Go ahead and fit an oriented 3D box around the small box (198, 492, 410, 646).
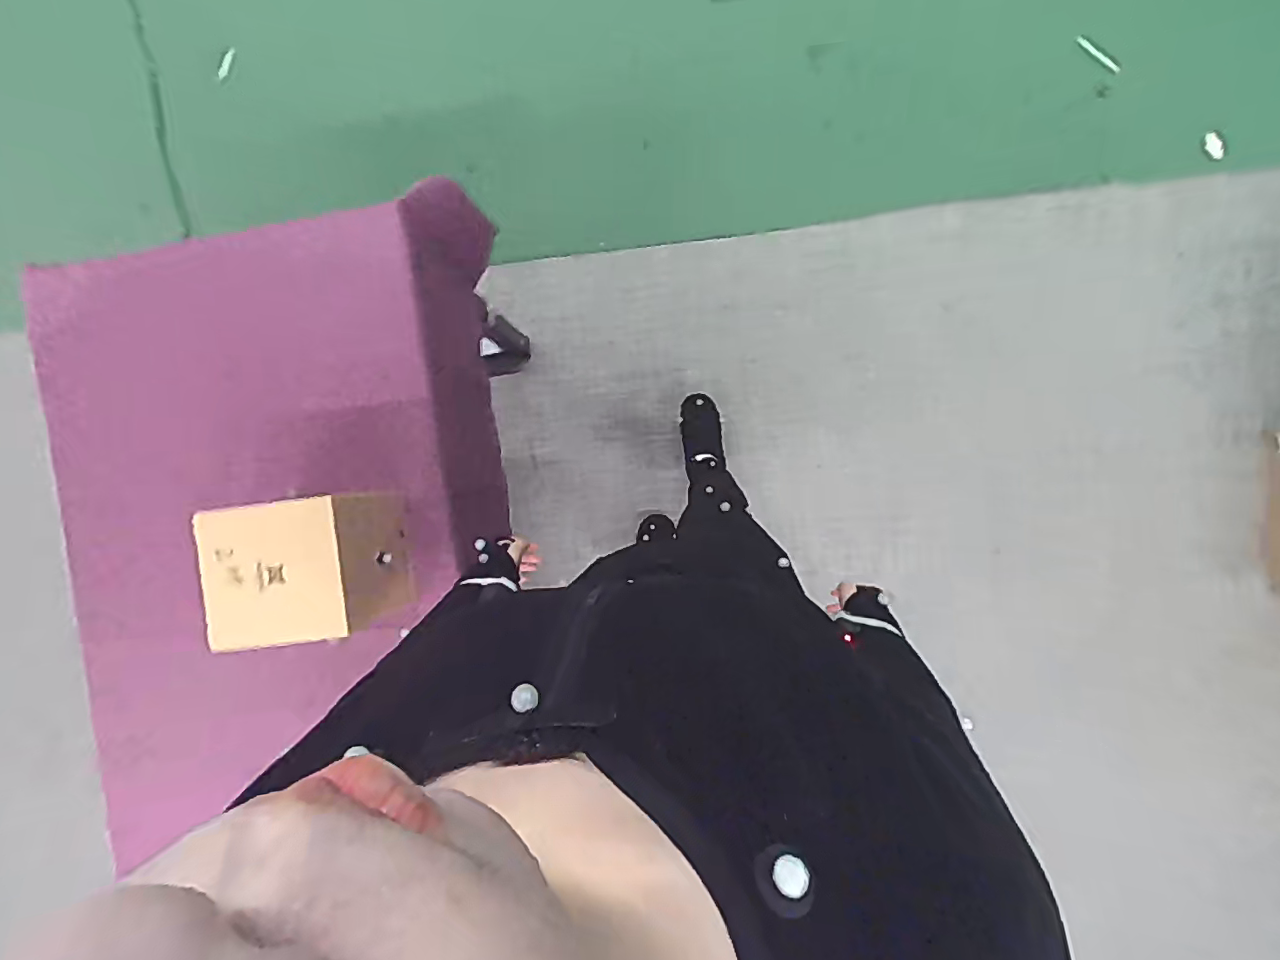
[{"bbox_3d":[-0.424,0.107,0.715,0.179,0.176,0.168,-7,89,5],"label":"small box"}]
